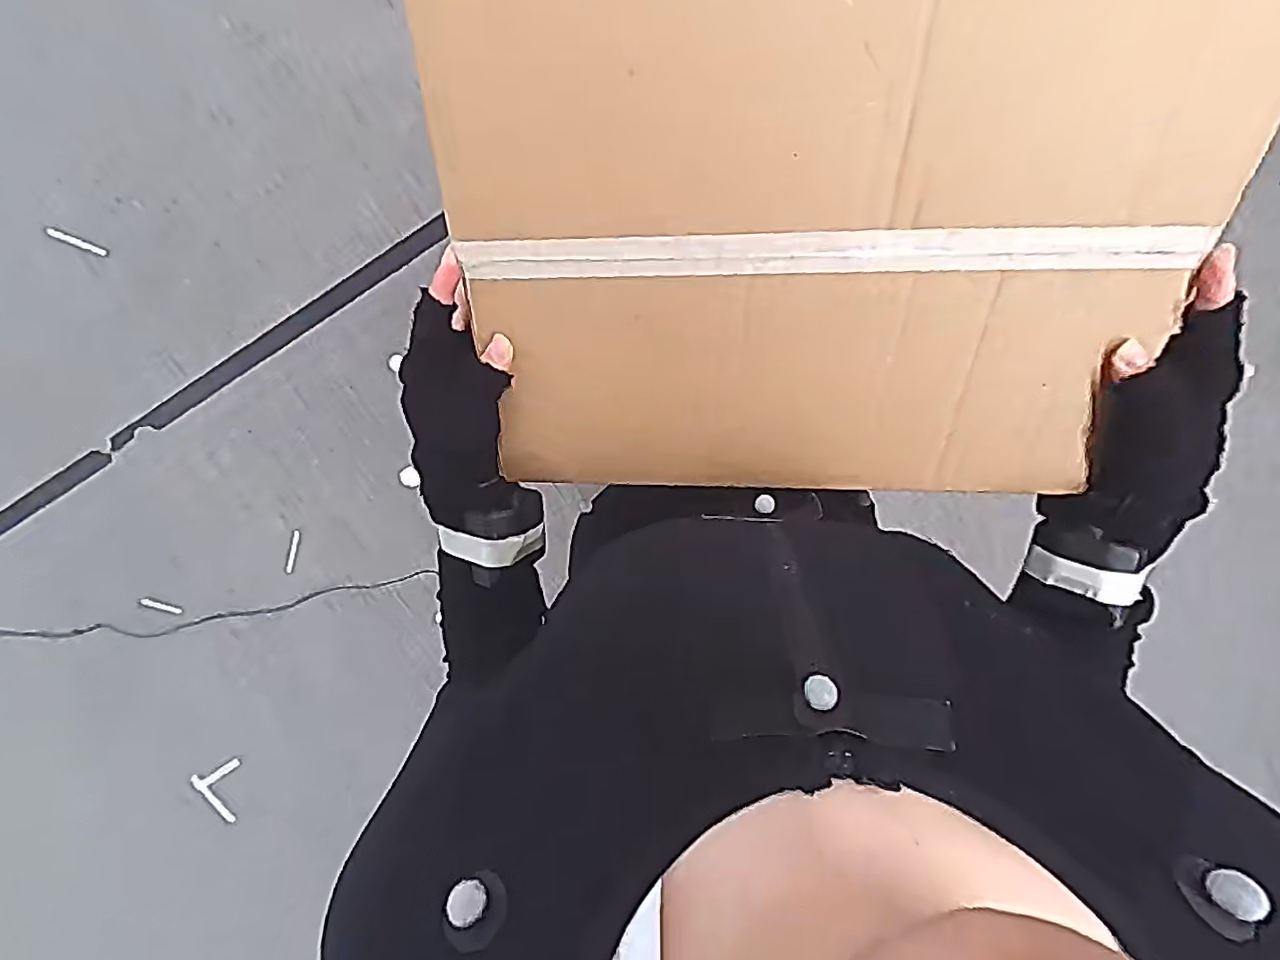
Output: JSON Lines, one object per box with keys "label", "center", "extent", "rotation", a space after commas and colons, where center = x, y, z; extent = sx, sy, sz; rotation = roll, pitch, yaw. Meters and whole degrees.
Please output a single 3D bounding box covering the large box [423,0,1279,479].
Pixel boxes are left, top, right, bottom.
{"label": "large box", "center": [0.106, -0.211, 0.432], "extent": [0.408, 0.320, 0.320], "rotation": [1, 125, 4]}
